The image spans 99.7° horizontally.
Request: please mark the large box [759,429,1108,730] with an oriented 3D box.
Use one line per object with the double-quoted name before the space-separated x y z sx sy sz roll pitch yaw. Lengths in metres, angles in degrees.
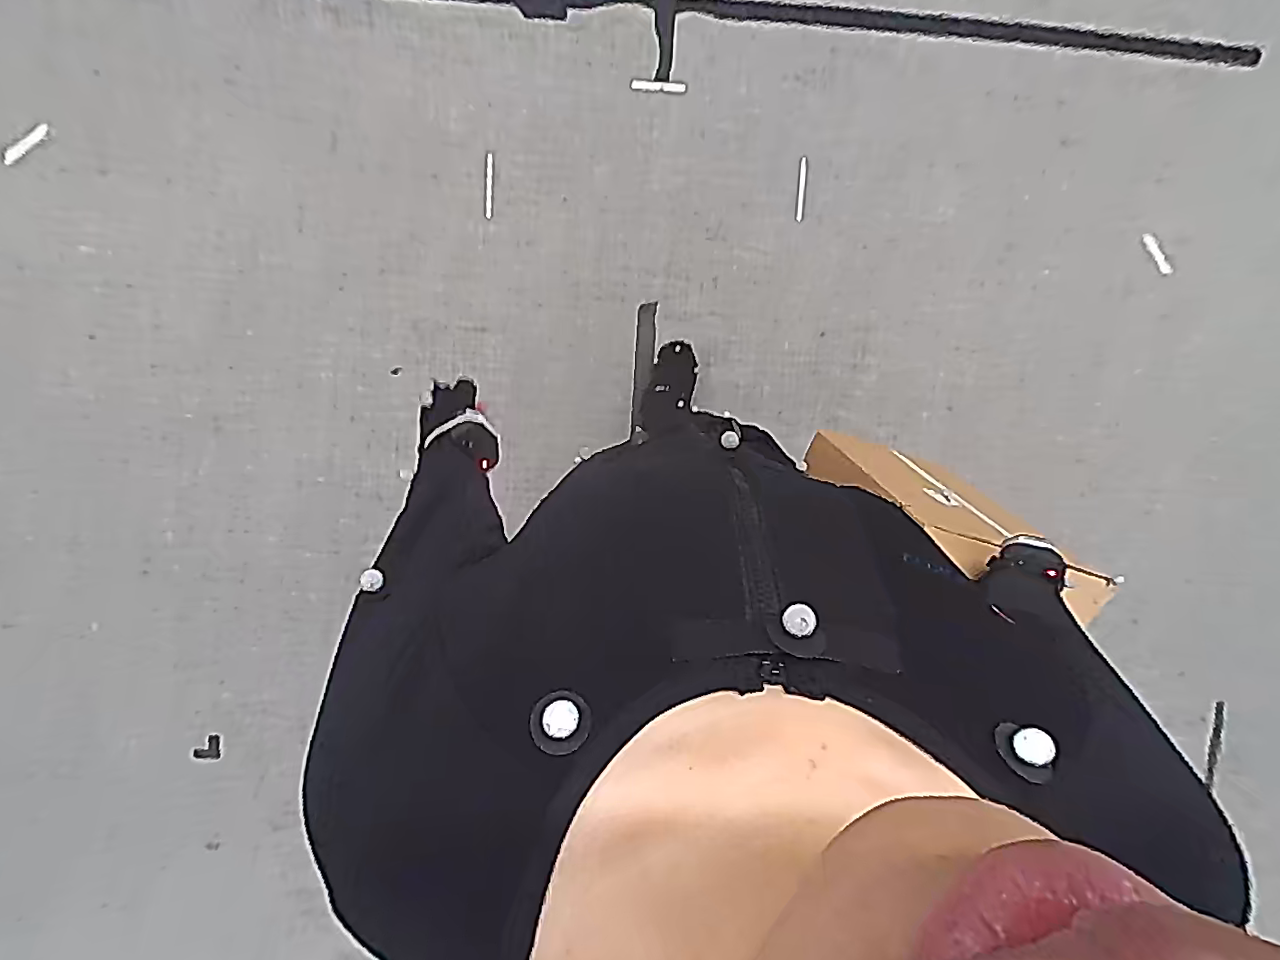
"large box" 0.456 0.153 0.967 0.320 0.408 0.320 16 113 -10
